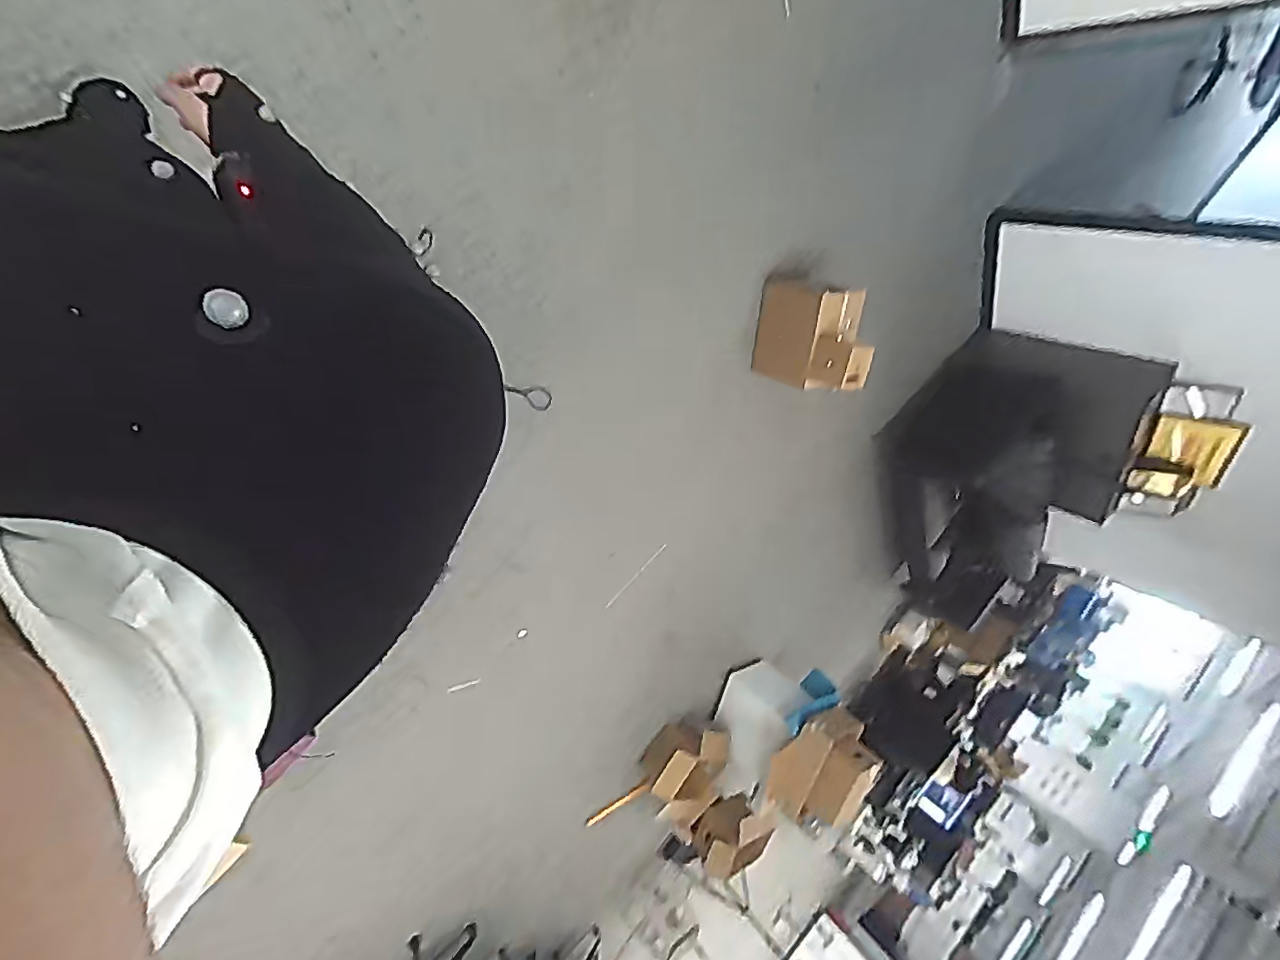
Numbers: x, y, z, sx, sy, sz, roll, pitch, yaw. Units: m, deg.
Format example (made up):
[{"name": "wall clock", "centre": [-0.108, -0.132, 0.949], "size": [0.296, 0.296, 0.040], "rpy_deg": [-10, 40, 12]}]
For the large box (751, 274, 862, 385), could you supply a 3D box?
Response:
[{"name": "large box", "centre": [0.728, -0.680, 2.411], "size": [0.320, 0.320, 0.408], "rpy_deg": [-19, 125, -34]}]

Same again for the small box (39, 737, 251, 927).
[{"name": "small box", "centre": [-0.753, 0.545, 0.842], "size": [0.179, 0.176, 0.168], "rpy_deg": [-44, 137, -10]}]
